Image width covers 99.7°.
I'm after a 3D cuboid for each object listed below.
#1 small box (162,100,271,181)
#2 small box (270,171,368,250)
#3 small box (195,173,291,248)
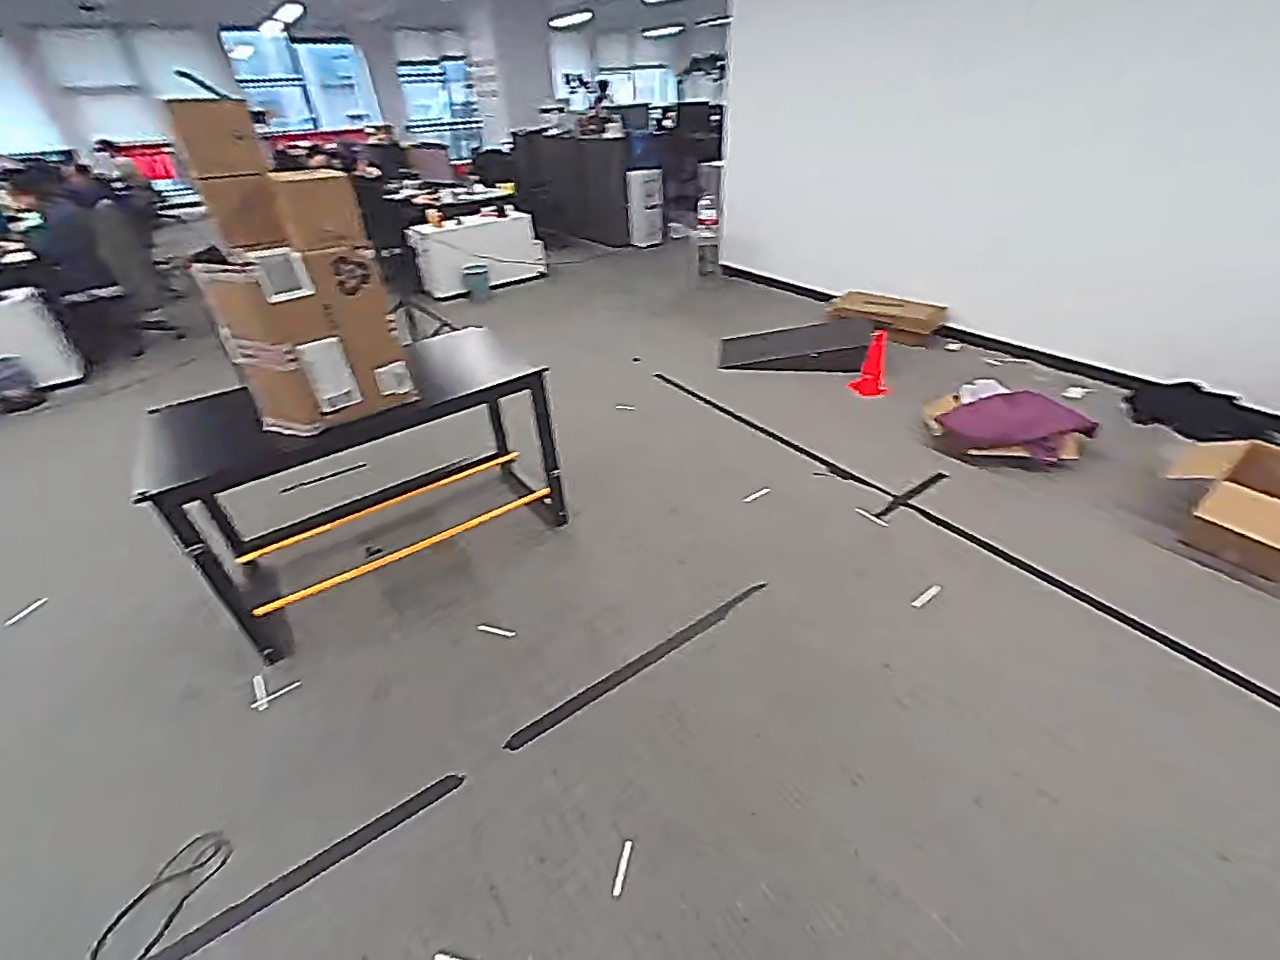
[{"bbox_3d":[-1.109,-0.894,1.428,0.179,0.176,0.168,-29,40,-32],"label":"small box"},{"bbox_3d":[-0.870,-0.732,1.469,0.168,0.176,0.179,-26,43,-31],"label":"small box"},{"bbox_3d":[-1.104,-0.759,1.521,0.179,0.176,0.168,-27,40,-30],"label":"small box"}]
